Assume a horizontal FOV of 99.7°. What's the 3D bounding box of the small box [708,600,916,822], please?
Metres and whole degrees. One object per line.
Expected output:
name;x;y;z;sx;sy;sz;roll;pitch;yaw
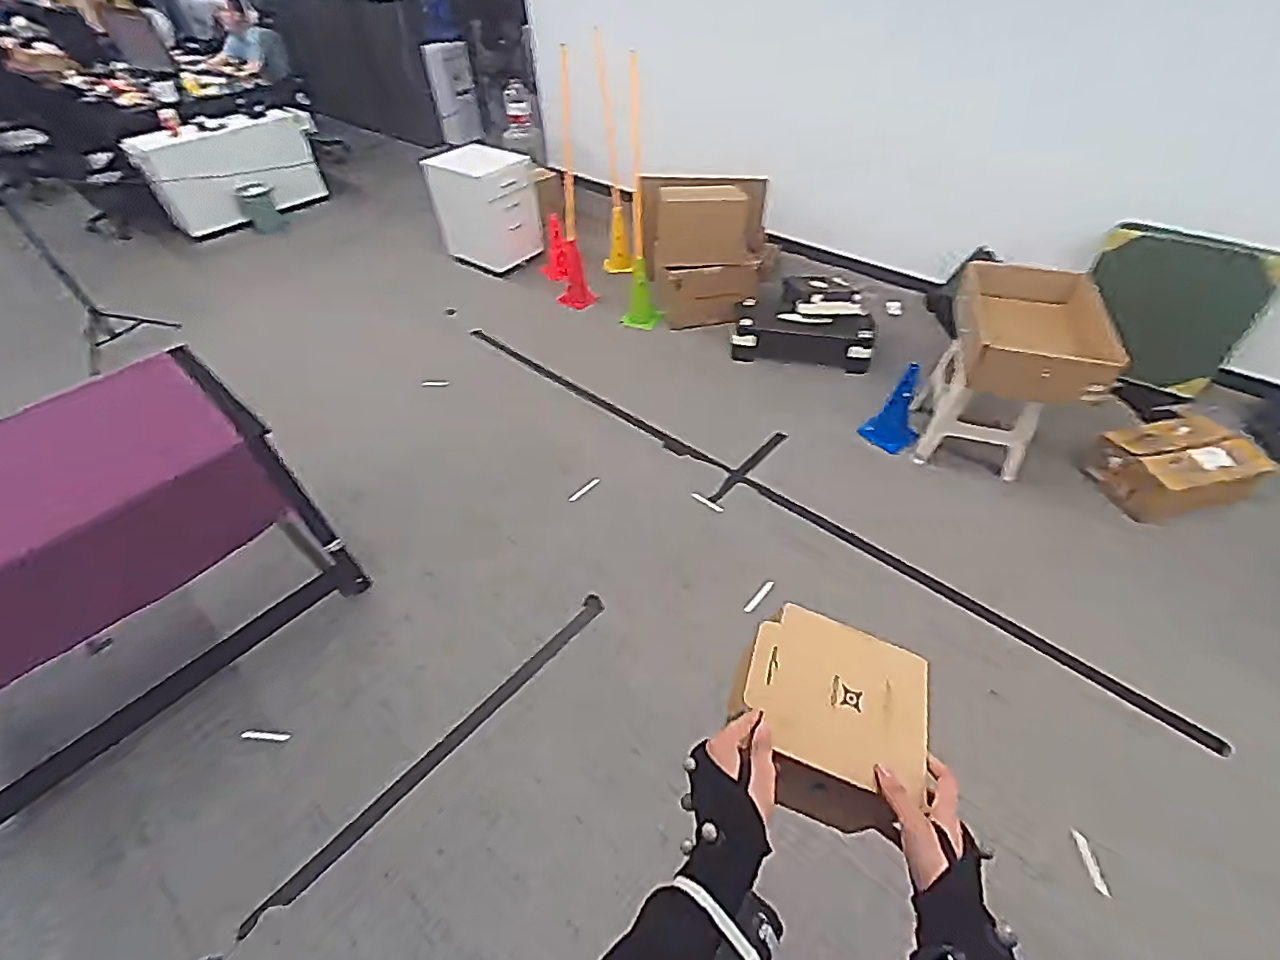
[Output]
small box;0.194;0.275;0.633;0.179;0.176;0.168;21;50;4
